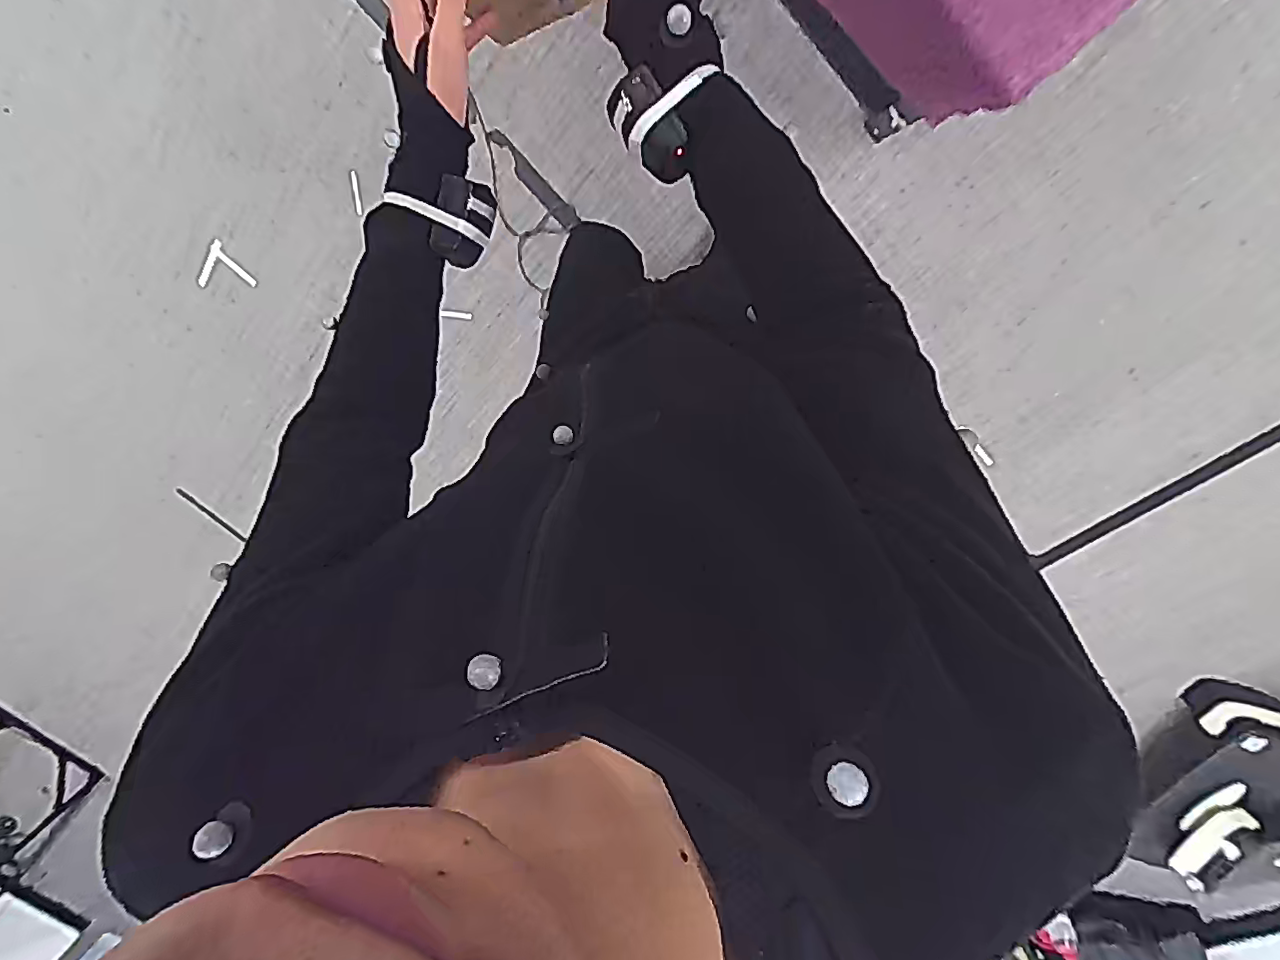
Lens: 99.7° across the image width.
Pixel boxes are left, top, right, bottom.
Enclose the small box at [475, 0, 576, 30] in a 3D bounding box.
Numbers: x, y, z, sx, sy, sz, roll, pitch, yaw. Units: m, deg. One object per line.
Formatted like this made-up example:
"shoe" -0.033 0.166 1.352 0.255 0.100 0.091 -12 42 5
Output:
"small box" -0.093 -0.485 0.396 0.168 0.176 0.179 -15 114 13
